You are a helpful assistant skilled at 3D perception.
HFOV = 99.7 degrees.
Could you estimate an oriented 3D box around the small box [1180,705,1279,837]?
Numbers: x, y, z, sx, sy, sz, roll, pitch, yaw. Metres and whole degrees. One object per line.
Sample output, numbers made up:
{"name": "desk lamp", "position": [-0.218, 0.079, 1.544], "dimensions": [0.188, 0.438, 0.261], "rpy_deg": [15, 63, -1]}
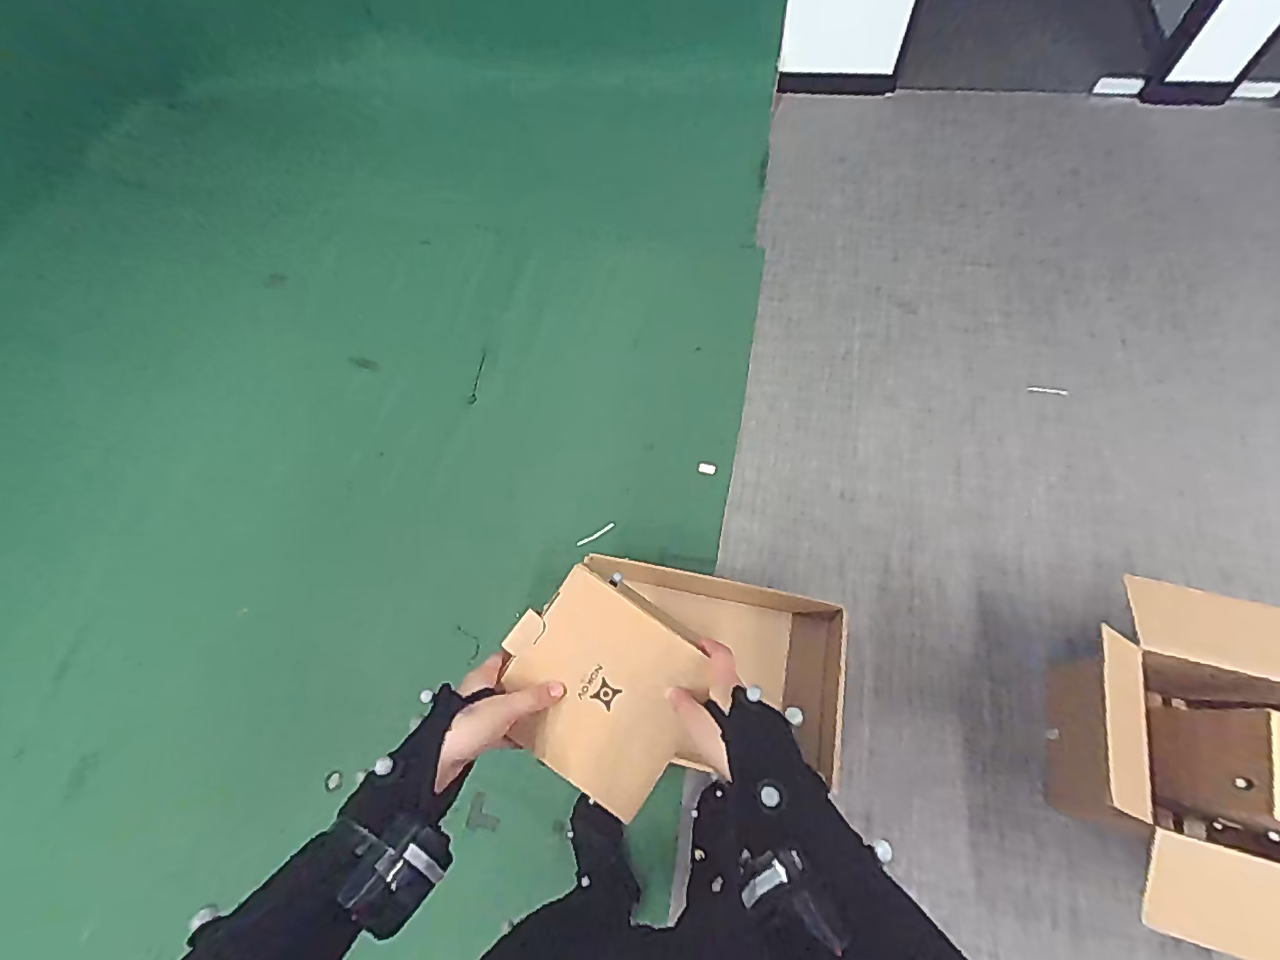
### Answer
{"name": "small box", "position": [1.105, 0.516, 0.947], "dimensions": [0.168, 0.176, 0.179], "rpy_deg": [19, 68, 10]}

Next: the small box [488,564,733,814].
{"name": "small box", "position": [-0.026, 0.203, 0.584], "dimensions": [0.179, 0.176, 0.168], "rpy_deg": [34, 83, 5]}
